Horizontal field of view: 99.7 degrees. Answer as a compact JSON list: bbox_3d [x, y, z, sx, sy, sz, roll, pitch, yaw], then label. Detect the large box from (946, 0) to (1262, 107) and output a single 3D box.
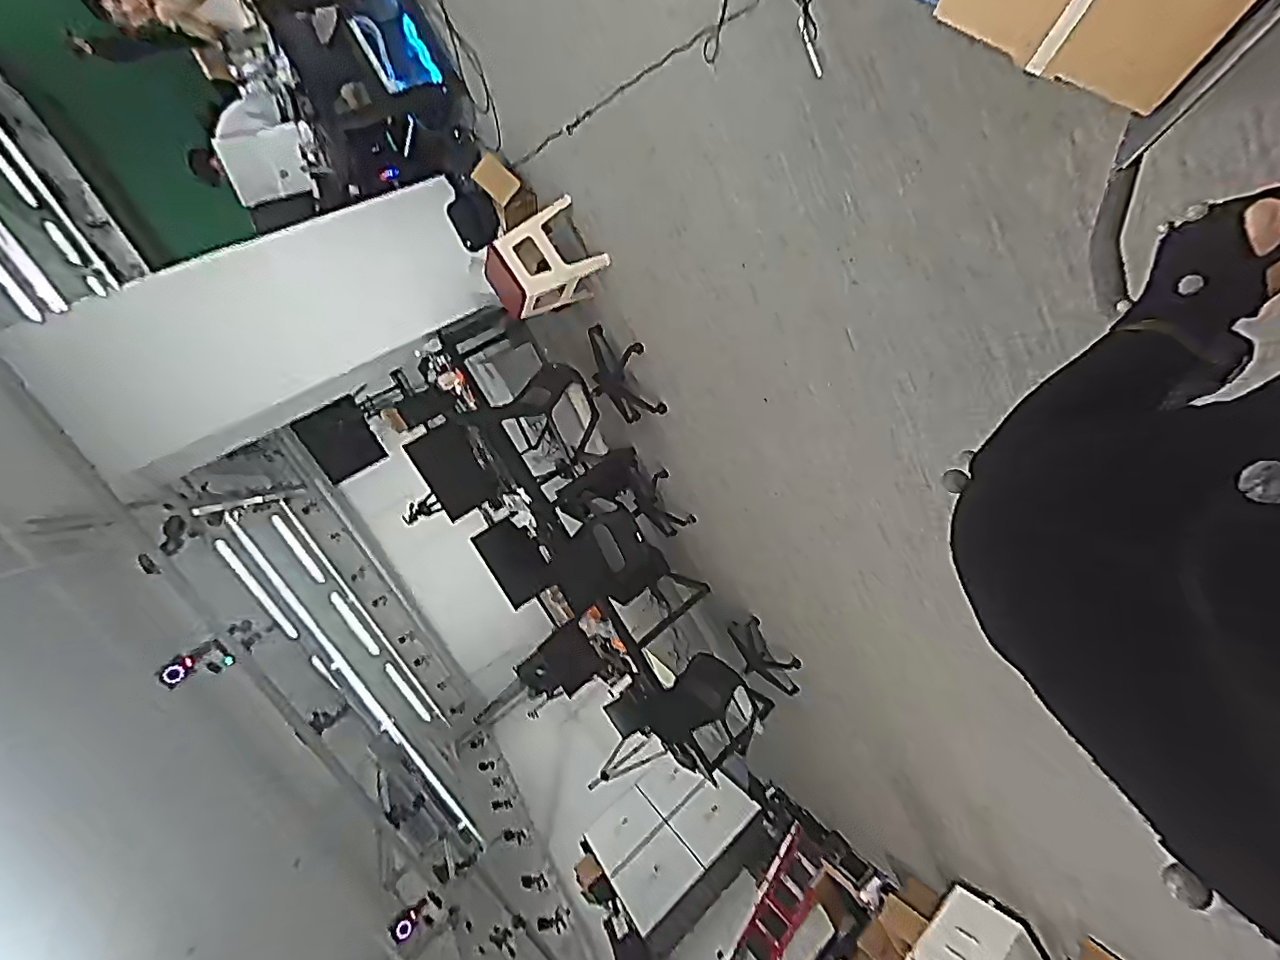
[{"bbox_3d":[0.646,-0.745,0.604,0.320,0.320,0.408,35,154,11],"label":"large box"}]
